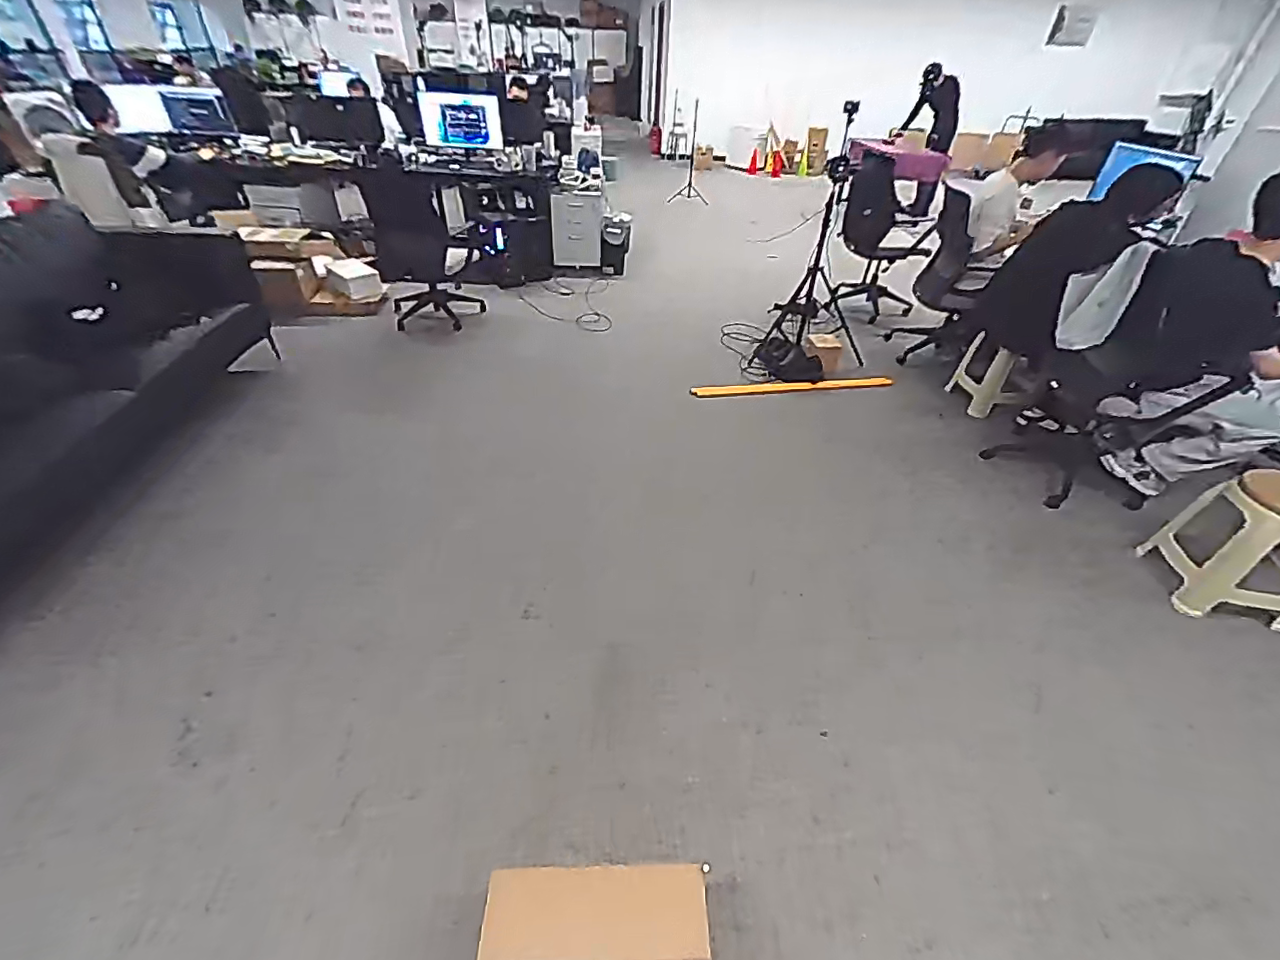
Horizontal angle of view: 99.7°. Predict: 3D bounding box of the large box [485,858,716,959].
[{"bbox_3d":[-0.073,0.945,1.005,0.408,0.320,0.320,0,39,-3],"label":"large box"}]
